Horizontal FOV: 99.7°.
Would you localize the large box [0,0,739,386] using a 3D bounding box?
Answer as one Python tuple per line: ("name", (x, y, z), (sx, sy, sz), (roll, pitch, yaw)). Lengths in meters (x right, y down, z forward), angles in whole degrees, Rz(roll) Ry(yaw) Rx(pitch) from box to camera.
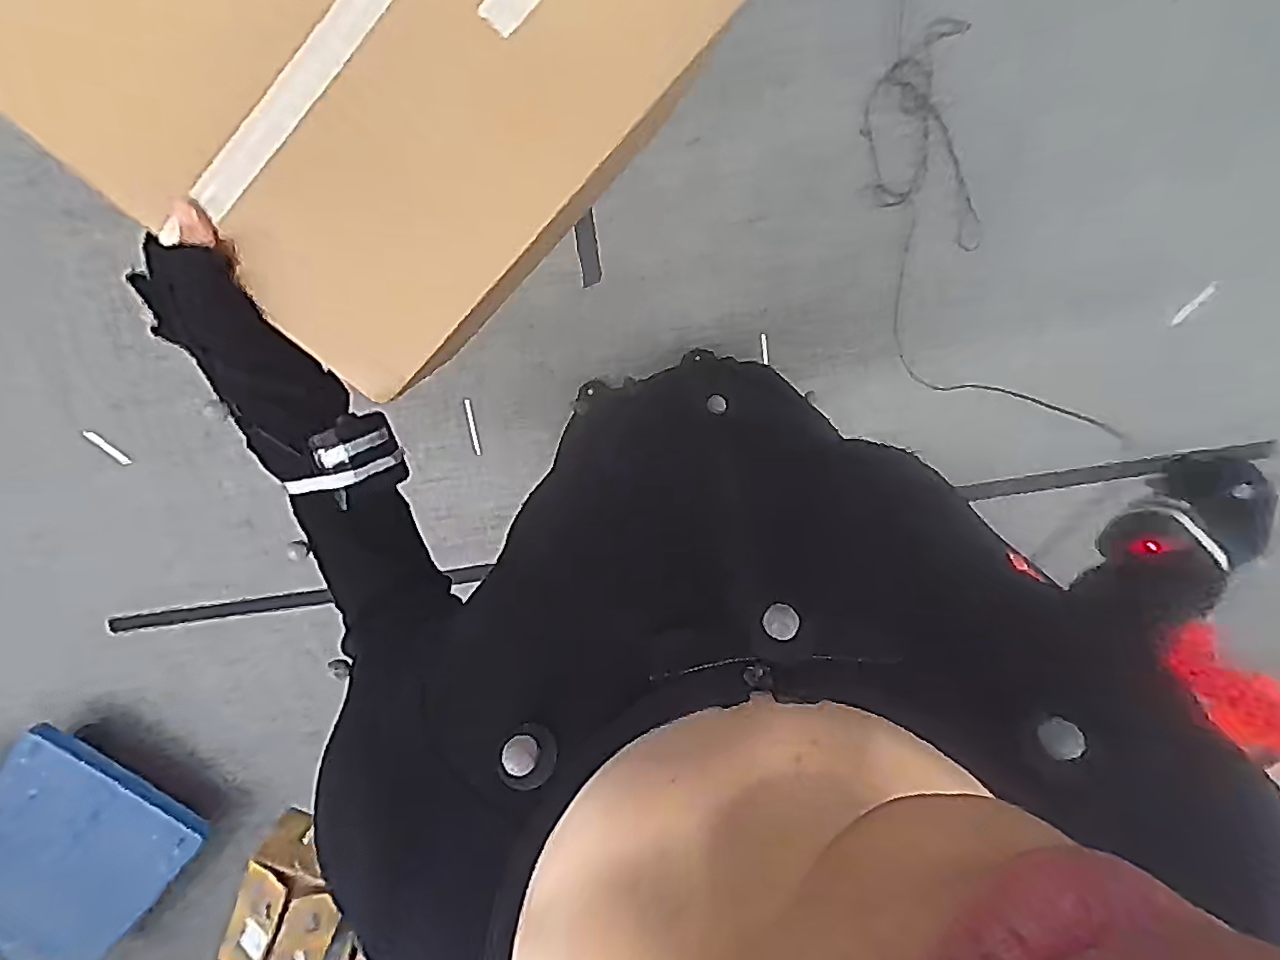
("large box", (-0.183, -0.347, 0.481), (0.408, 0.320, 0.320), (-45, 110, 6))
